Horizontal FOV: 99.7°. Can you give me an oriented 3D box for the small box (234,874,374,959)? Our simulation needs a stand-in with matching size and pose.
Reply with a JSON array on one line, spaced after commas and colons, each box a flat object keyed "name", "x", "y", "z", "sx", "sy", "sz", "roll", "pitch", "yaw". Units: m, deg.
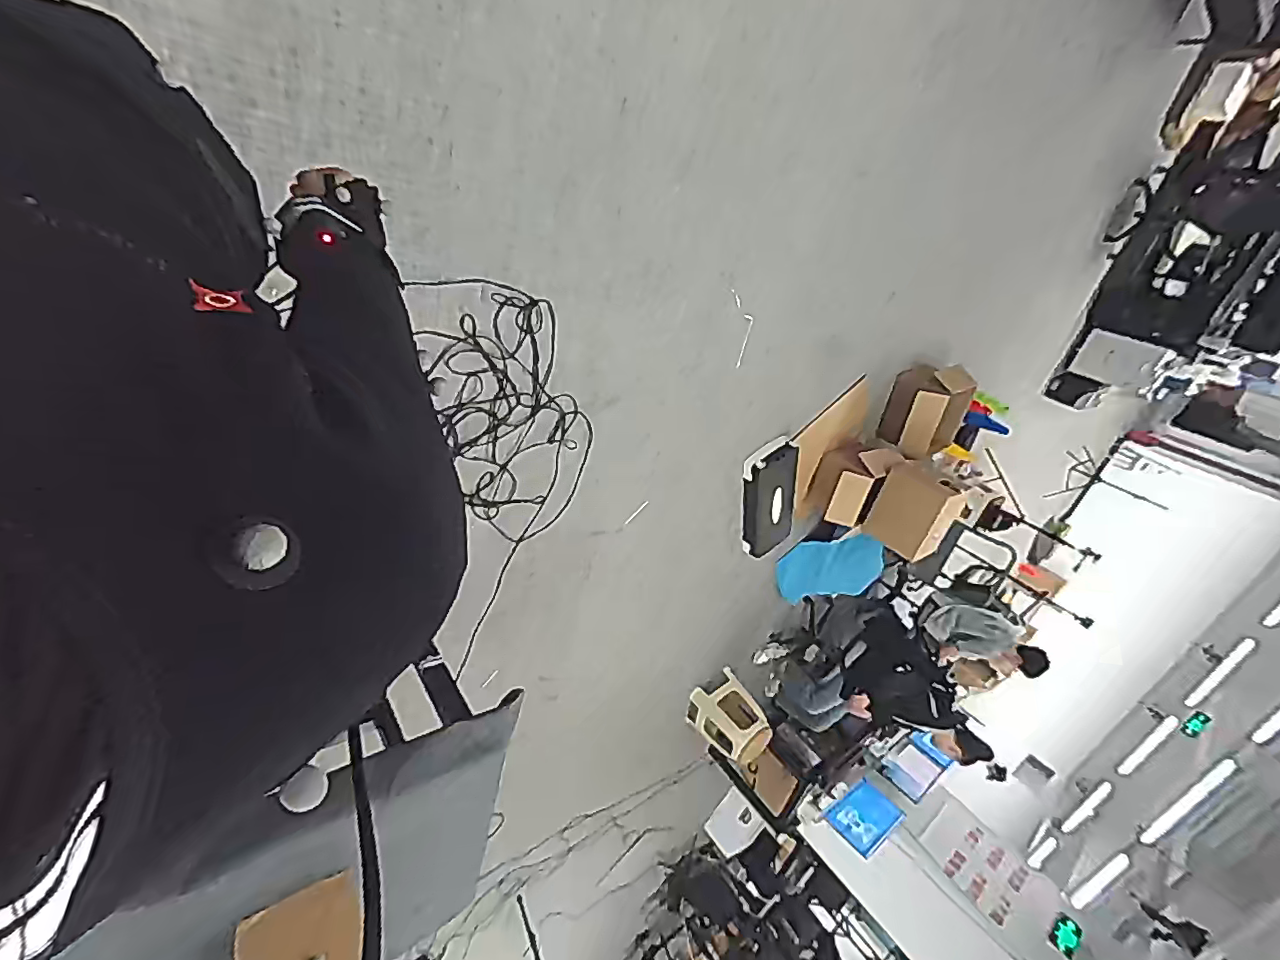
[{"name": "small box", "x": -0.579, "y": 0.835, "z": 0.928, "sx": 0.179, "sy": 0.176, "sz": 0.168, "roll": -4, "pitch": 121, "yaw": -41}]
